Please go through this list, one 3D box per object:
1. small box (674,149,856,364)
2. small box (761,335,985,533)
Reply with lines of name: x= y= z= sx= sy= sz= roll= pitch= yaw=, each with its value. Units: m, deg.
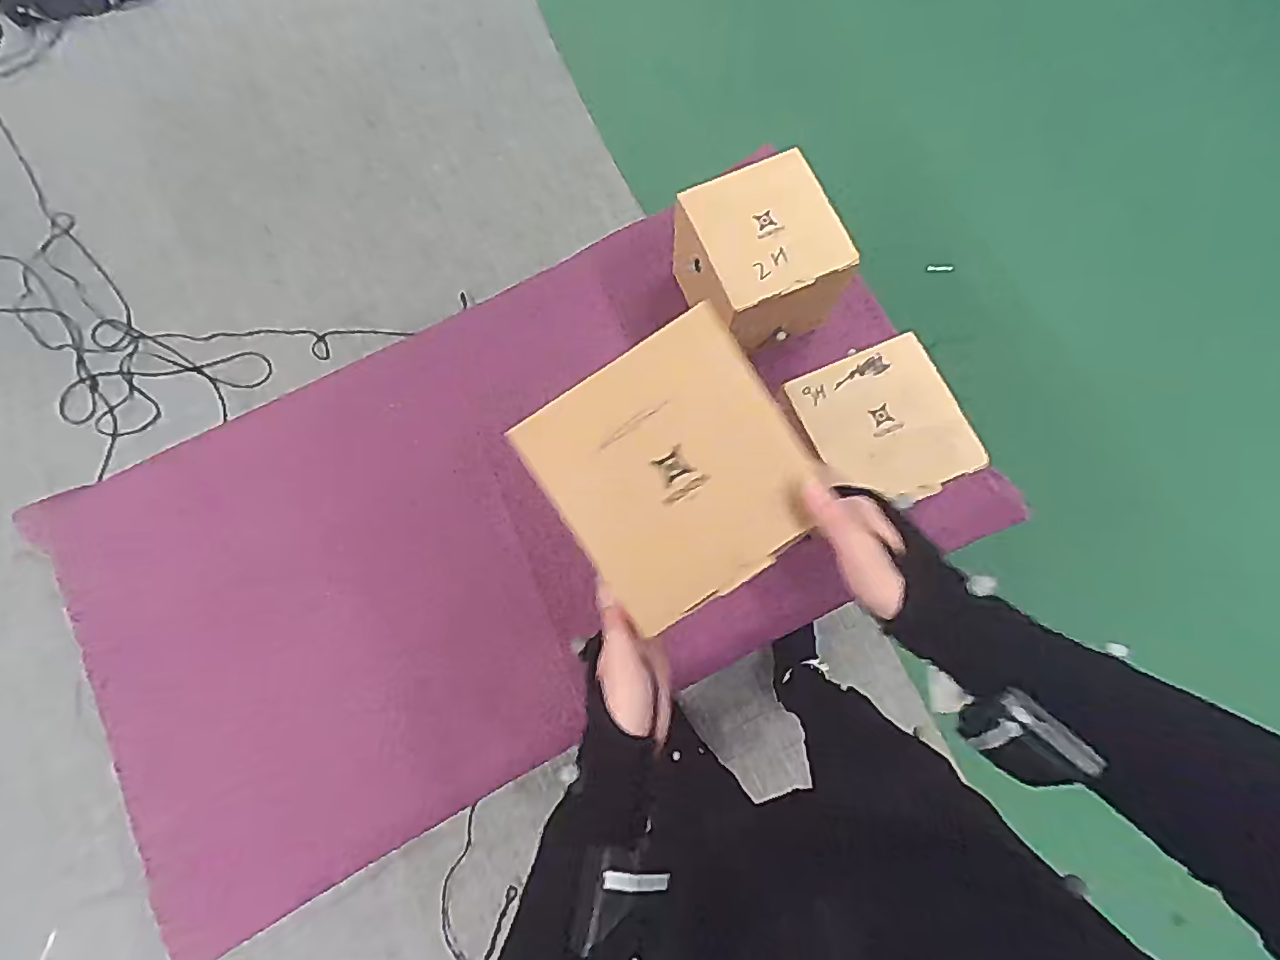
small box: x=0.150 y=-0.286 z=0.724 sx=0.168 sy=0.176 sz=0.179 roll=-23 pitch=80 yaw=-2
small box: x=0.268 y=-0.042 z=0.669 sx=0.168 sy=0.176 sz=0.179 roll=-22 pitch=78 yaw=-2
